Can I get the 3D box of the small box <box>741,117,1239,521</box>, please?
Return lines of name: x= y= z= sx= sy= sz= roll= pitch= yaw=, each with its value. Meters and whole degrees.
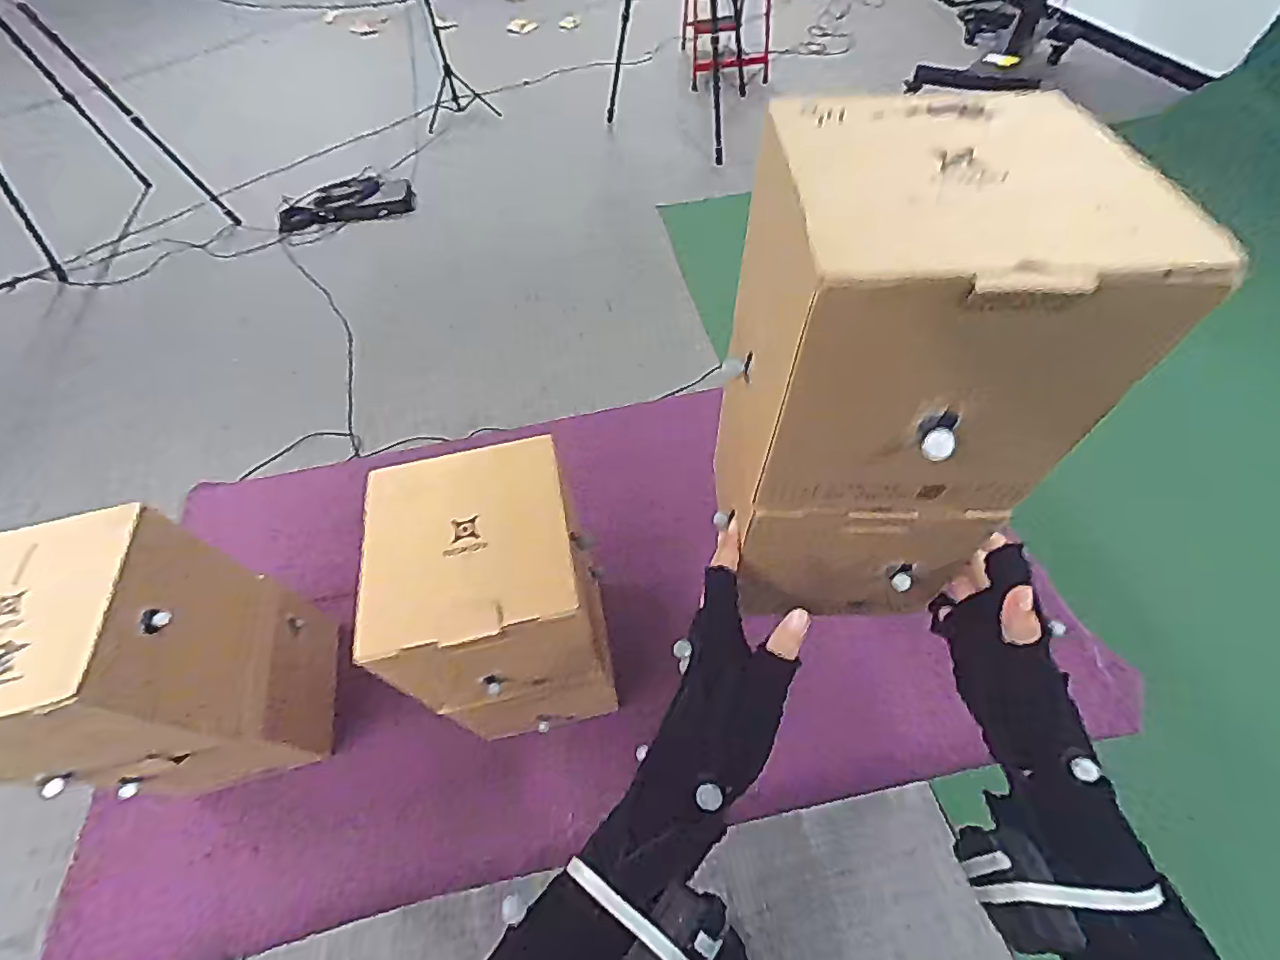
small box: x=0.157 y=-0.088 z=0.326 sx=0.168 sy=0.176 sz=0.179 roll=1 pitch=54 yaw=2

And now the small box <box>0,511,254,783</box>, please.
small box: x=-0.485 y=0.155 z=0.478 sx=0.168 sy=0.176 sz=0.179 roll=-10 pitch=56 yaw=-5

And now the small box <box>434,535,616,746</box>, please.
small box: x=-0.126 y=0.190 z=0.632 sx=0.168 sy=0.176 sz=0.179 roll=-11 pitch=56 yaw=-3

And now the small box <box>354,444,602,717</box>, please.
small box: x=-0.135 y=0.096 z=0.499 sx=0.168 sy=0.176 sz=0.179 roll=-12 pitch=56 yaw=-4

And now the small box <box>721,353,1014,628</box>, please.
small box: x=0.160 y=0.013 z=0.455 sx=0.168 sy=0.176 sz=0.179 roll=1 pitch=53 yaw=2
